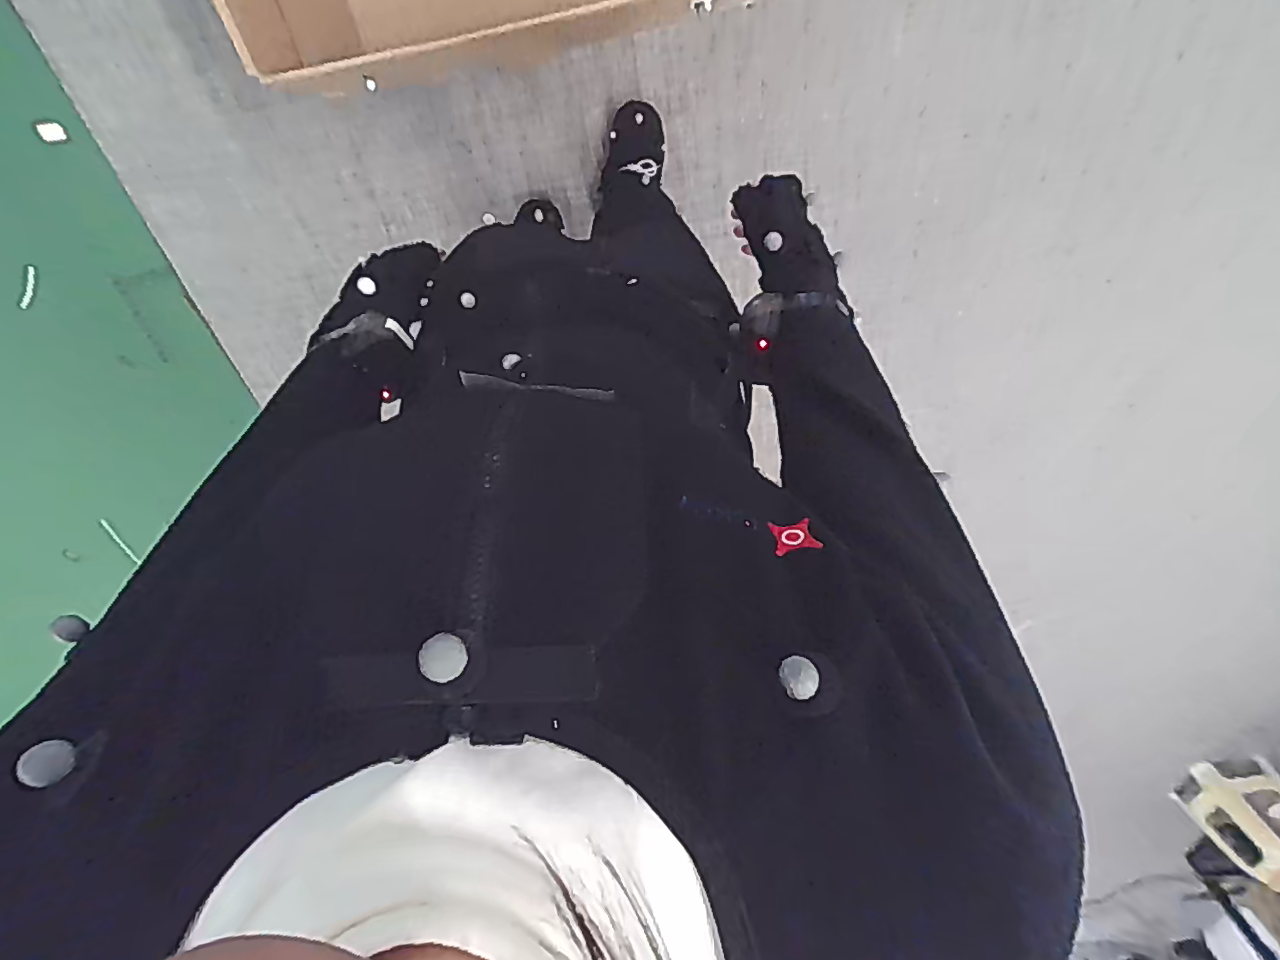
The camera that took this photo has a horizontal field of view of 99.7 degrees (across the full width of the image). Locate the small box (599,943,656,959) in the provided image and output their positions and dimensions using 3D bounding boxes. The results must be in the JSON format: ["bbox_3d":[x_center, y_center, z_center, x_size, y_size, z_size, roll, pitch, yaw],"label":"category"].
[{"bbox_3d":[-0.034,1.623,1.734,0.168,0.176,0.179,-11,123,4],"label":"small box"}]
